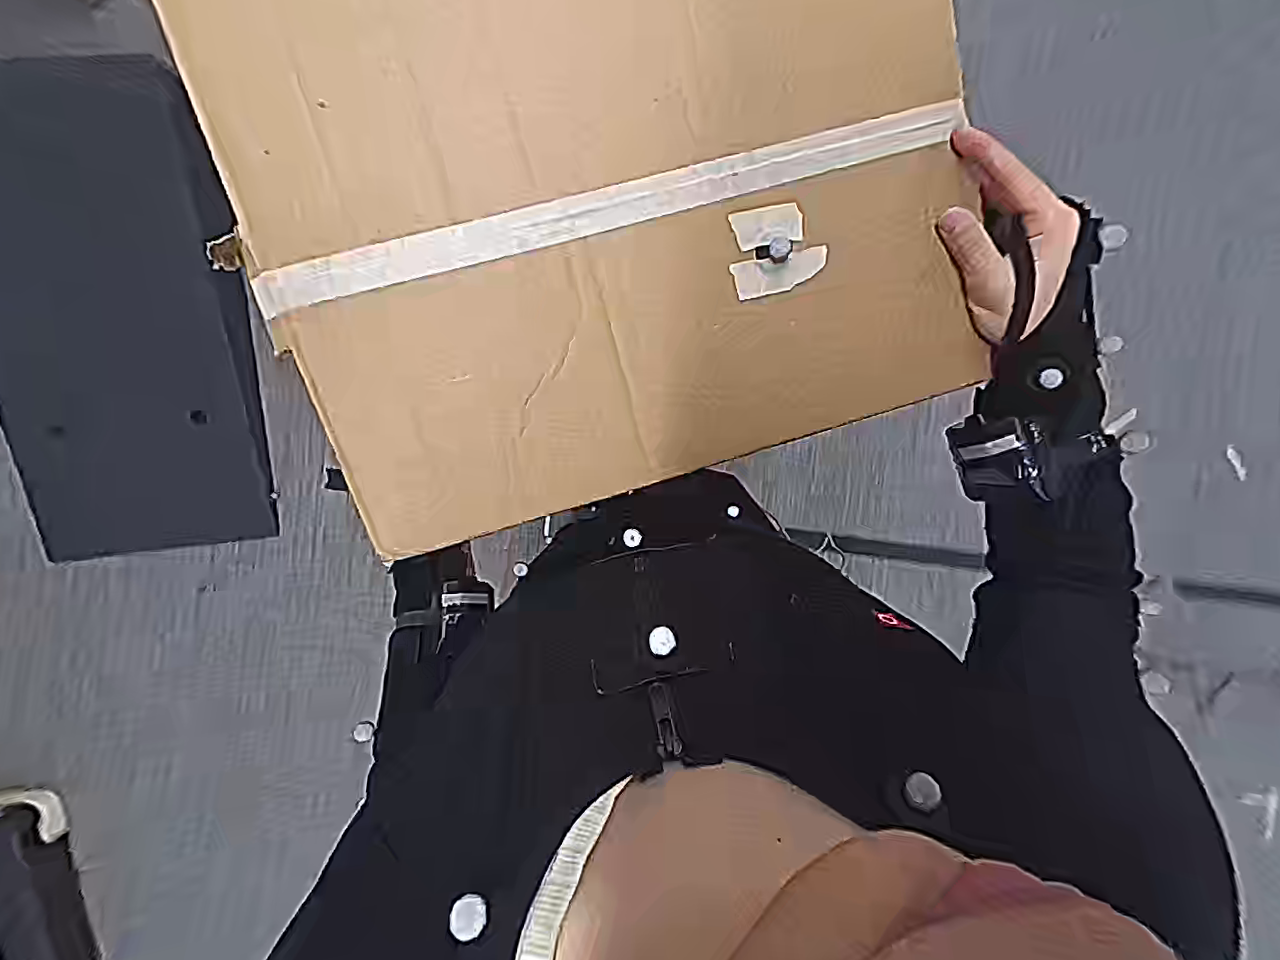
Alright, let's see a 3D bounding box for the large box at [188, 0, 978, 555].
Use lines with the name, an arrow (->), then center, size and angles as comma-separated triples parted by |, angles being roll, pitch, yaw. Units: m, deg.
large box -> -0.023, -0.177, 0.459 | 0.408, 0.320, 0.320 | -17, 102, -7
